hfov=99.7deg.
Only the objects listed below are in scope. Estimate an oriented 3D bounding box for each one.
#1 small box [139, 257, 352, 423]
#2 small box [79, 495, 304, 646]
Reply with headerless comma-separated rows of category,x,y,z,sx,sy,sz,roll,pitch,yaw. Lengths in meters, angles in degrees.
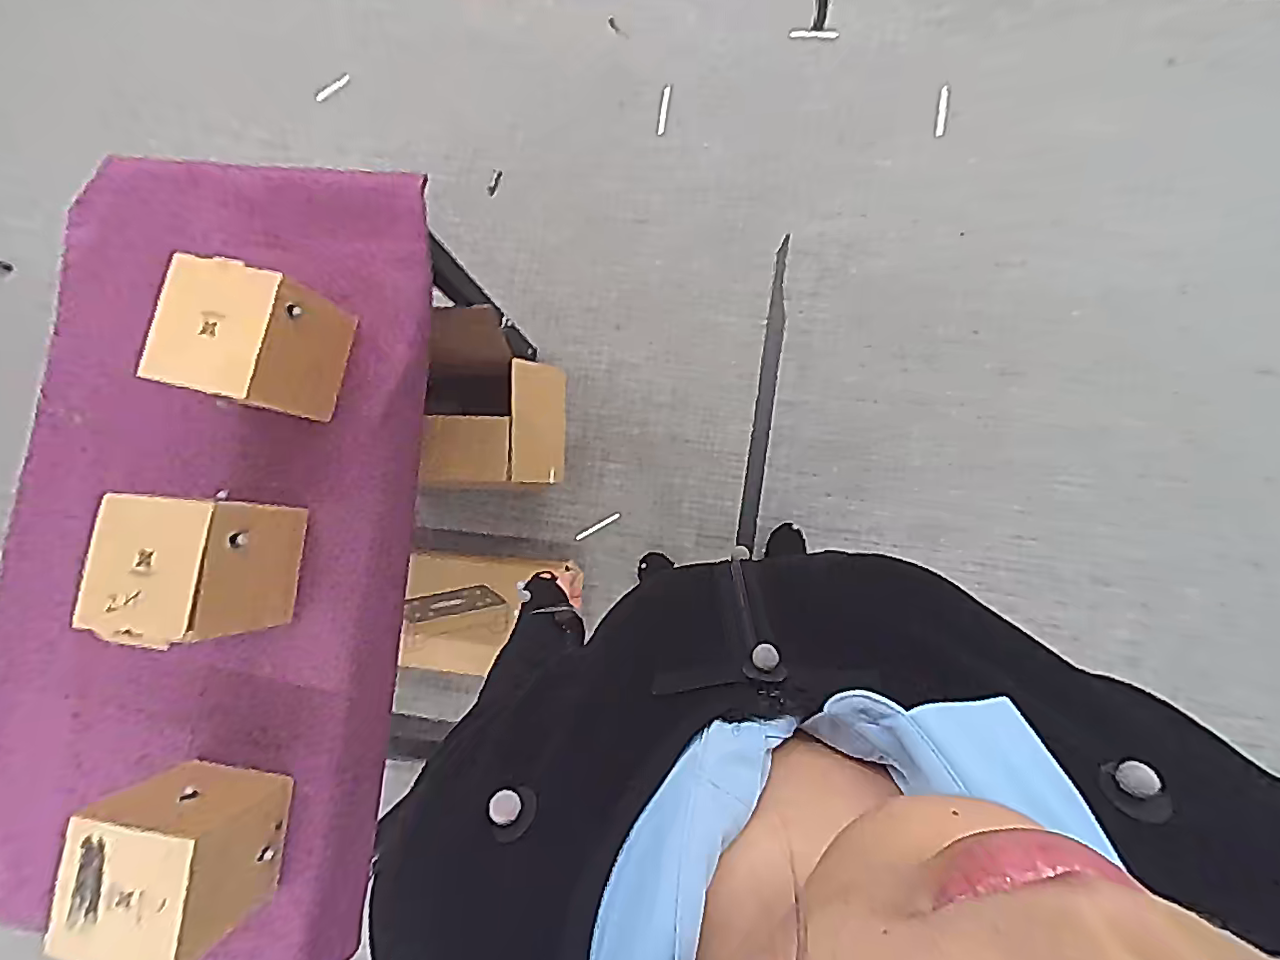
small box,-0.558,-0.192,0.790,0.168,0.176,0.179,12,85,7
small box,-0.614,0.121,0.763,0.168,0.176,0.179,5,85,9
